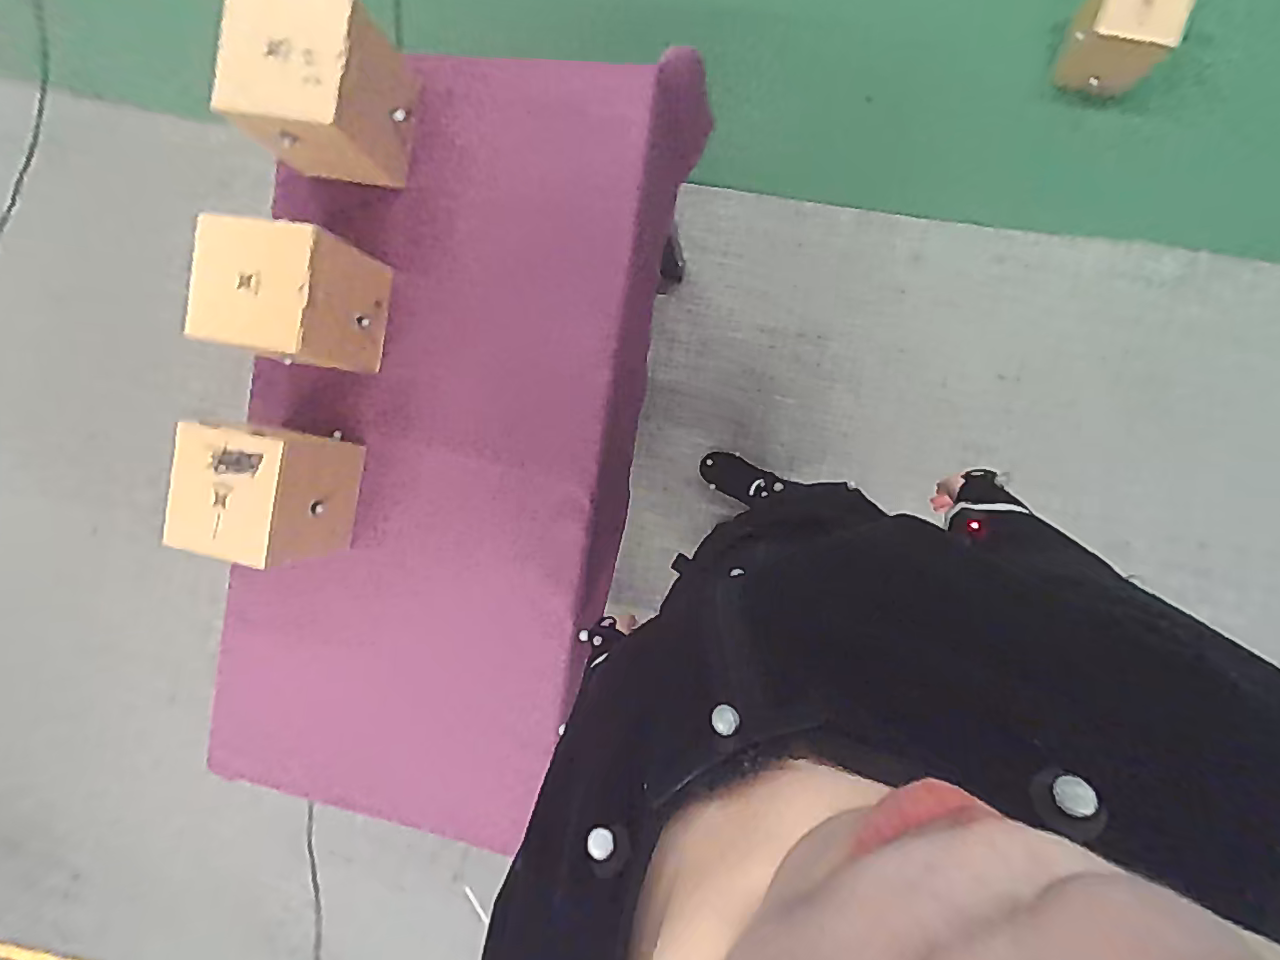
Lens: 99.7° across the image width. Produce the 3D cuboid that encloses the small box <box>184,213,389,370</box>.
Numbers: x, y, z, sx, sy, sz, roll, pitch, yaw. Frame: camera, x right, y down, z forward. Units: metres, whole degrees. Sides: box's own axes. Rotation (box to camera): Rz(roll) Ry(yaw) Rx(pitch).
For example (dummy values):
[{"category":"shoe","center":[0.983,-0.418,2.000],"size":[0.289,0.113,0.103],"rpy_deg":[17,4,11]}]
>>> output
[{"category":"small box","center":[-0.504,-0.264,0.790],"size":[0.179,0.176,0.168],"rpy_deg":[10,93,8]}]

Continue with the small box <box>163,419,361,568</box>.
[{"category":"small box","center":[-0.547,0.014,0.803],"size":[0.168,0.176,0.179],"rpy_deg":[11,94,9]}]

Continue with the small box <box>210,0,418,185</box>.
[{"category":"small box","center":[-0.450,-0.547,0.767],"size":[0.179,0.176,0.168],"rpy_deg":[12,94,6]}]
